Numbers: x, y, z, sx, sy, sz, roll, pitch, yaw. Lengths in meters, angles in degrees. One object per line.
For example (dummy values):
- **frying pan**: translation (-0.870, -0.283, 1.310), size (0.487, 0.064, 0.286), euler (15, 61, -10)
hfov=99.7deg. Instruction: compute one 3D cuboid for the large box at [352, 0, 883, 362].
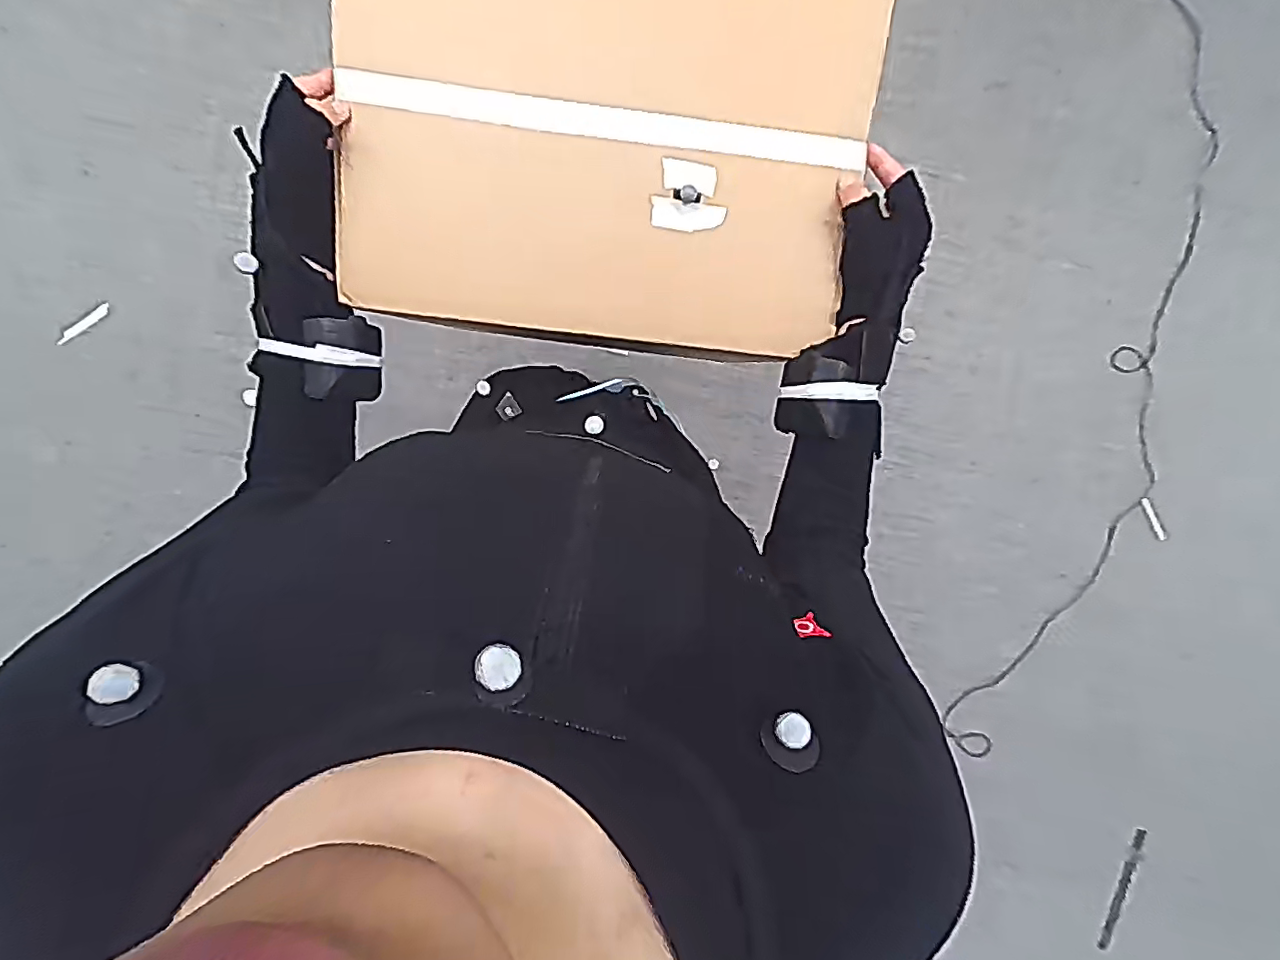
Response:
- **large box**: translation (-0.032, -0.301, 0.571), size (0.408, 0.320, 0.320), euler (6, 103, -5)
